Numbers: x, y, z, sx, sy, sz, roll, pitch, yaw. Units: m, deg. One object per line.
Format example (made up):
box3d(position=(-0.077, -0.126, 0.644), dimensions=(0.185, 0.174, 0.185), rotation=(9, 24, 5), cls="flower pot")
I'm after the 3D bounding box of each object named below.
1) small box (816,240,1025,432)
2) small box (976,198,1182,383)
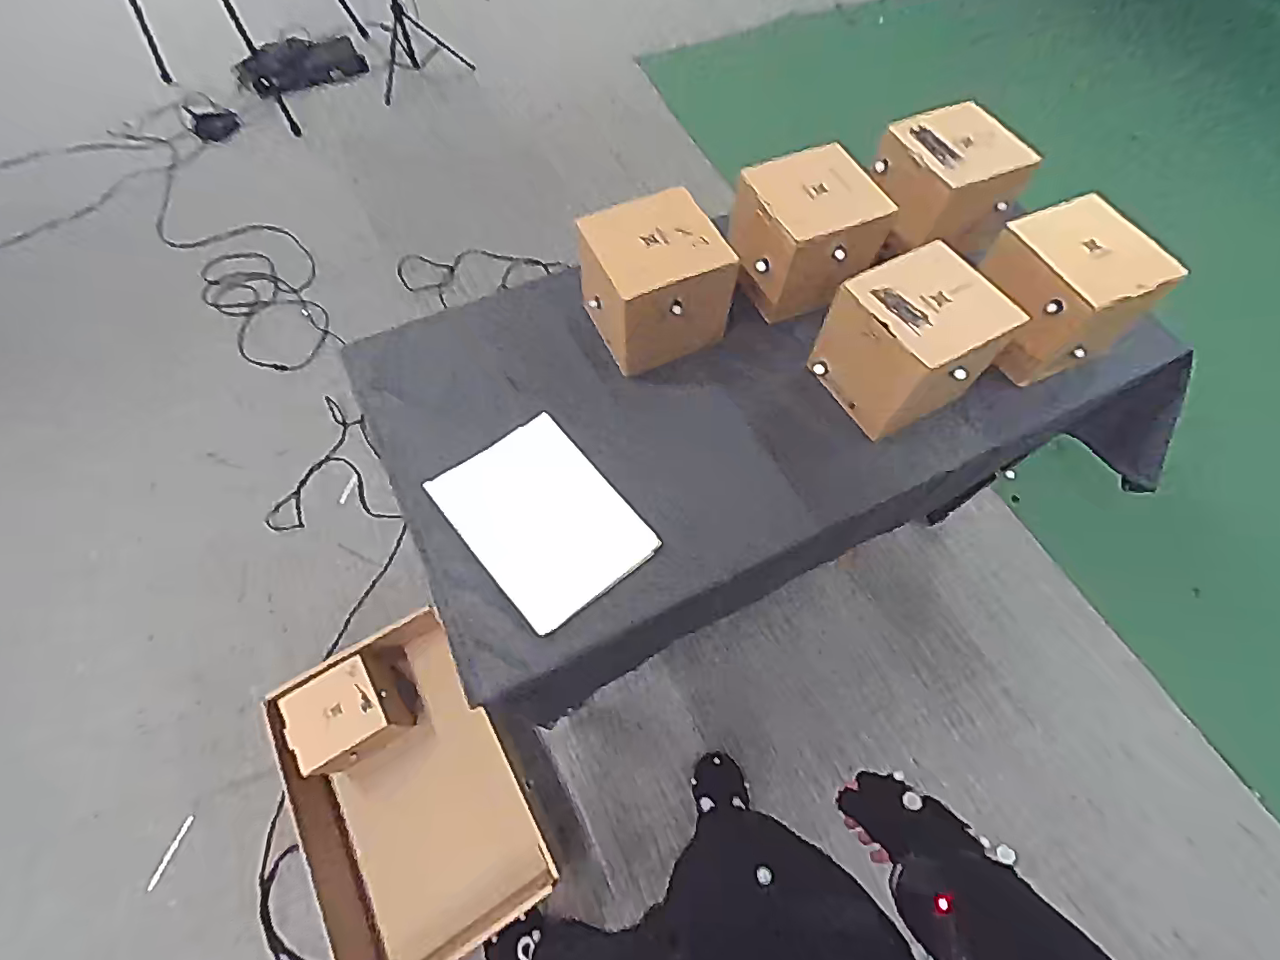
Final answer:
box3d(position=(0.373, -0.195, 0.763), dimensions=(0.179, 0.176, 0.168), rotation=(-26, 67, -14), cls="small box")
box3d(position=(0.616, -0.279, 0.812), dimensions=(0.168, 0.176, 0.179), rotation=(-21, 66, -10), cls="small box")
